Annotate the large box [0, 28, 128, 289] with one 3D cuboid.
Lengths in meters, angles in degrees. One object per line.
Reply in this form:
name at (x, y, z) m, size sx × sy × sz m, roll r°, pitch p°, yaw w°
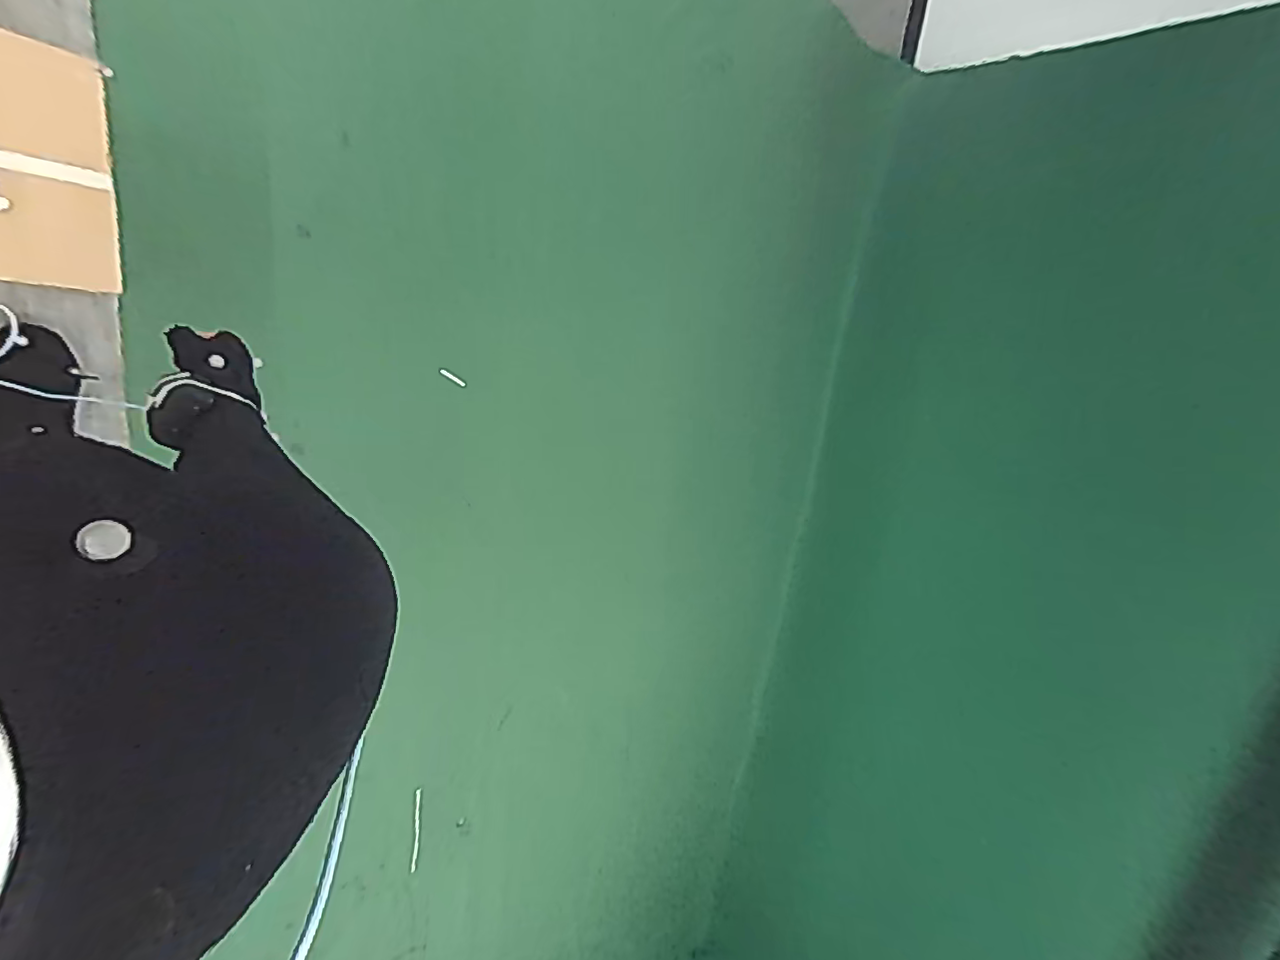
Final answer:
large box at (-1.013, -0.454, 0.743) m, size 0.408 × 0.320 × 0.320 m, roll -8°, pitch 111°, yaw -47°
